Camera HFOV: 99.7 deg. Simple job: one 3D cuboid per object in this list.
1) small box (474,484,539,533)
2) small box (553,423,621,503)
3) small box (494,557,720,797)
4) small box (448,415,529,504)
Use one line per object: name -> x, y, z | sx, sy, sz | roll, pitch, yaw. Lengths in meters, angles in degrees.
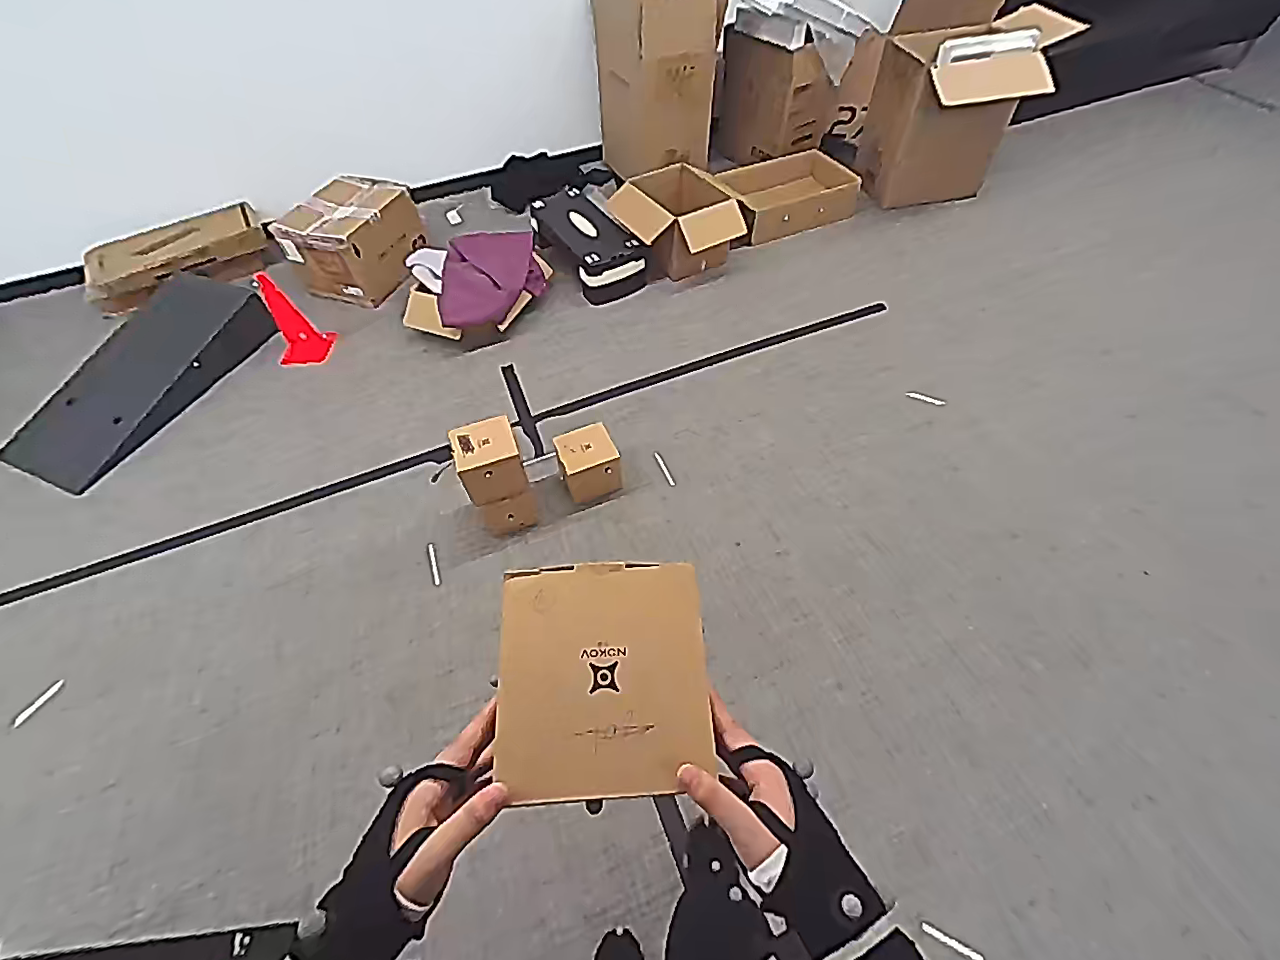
small box -> -0.431, 0.049, 1.709 | 0.168, 0.176, 0.179 | -18, 55, -10
small box -> -0.170, -0.053, 1.769 | 0.179, 0.176, 0.168 | -21, 55, -12
small box -> -0.032, 0.182, 0.495 | 0.168, 0.176, 0.179 | -2, 63, -4
small box -> -0.439, -0.055, 1.580 | 0.179, 0.176, 0.168 | -18, 54, -10
